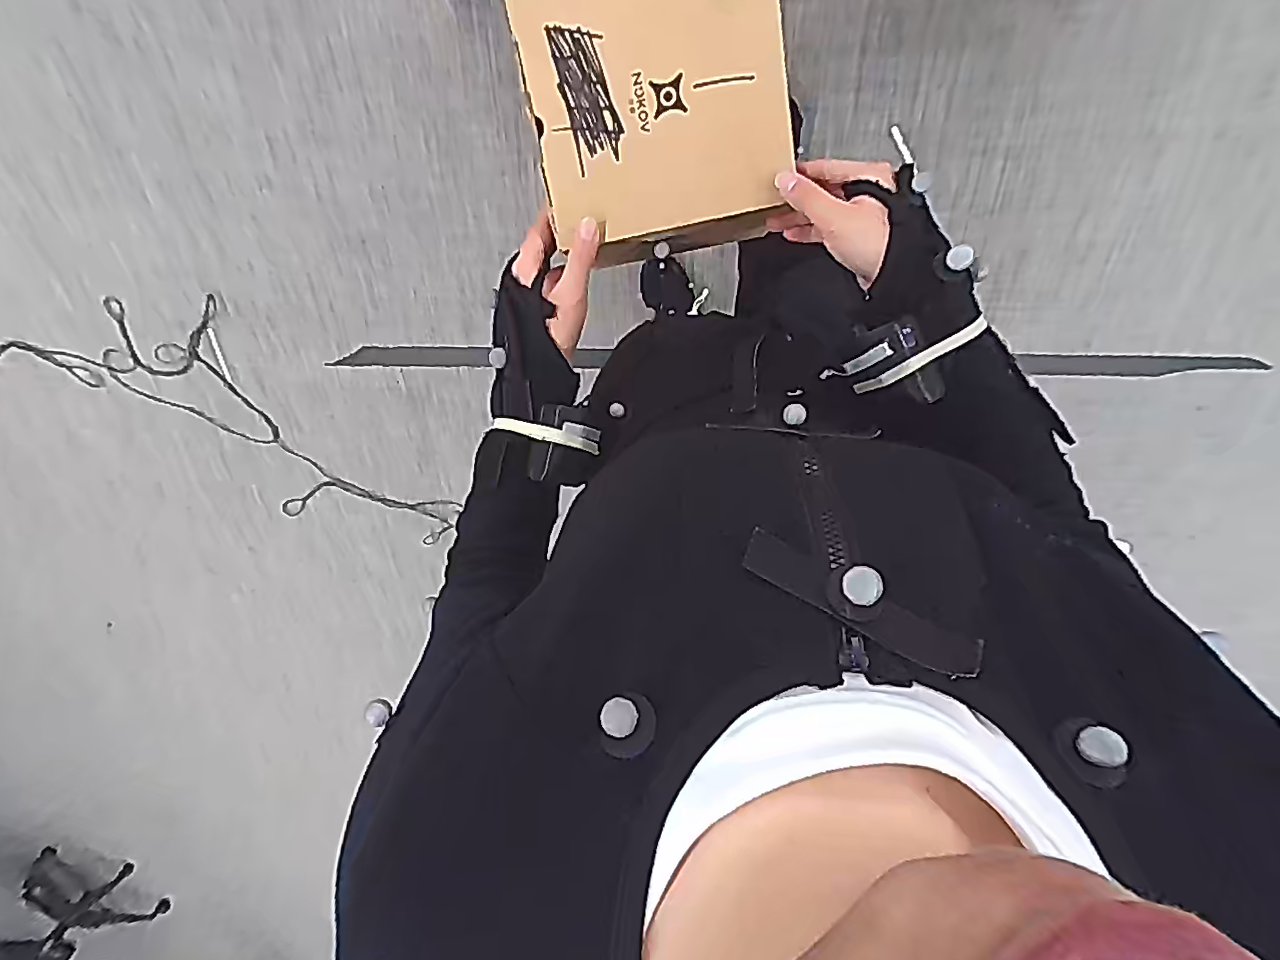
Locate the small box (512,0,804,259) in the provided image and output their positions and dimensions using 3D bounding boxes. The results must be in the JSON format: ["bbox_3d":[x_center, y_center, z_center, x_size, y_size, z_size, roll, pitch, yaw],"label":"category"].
[{"bbox_3d":[0.019,-0.285,0.433,0.179,0.176,0.168,-9,106,6],"label":"small box"}]
